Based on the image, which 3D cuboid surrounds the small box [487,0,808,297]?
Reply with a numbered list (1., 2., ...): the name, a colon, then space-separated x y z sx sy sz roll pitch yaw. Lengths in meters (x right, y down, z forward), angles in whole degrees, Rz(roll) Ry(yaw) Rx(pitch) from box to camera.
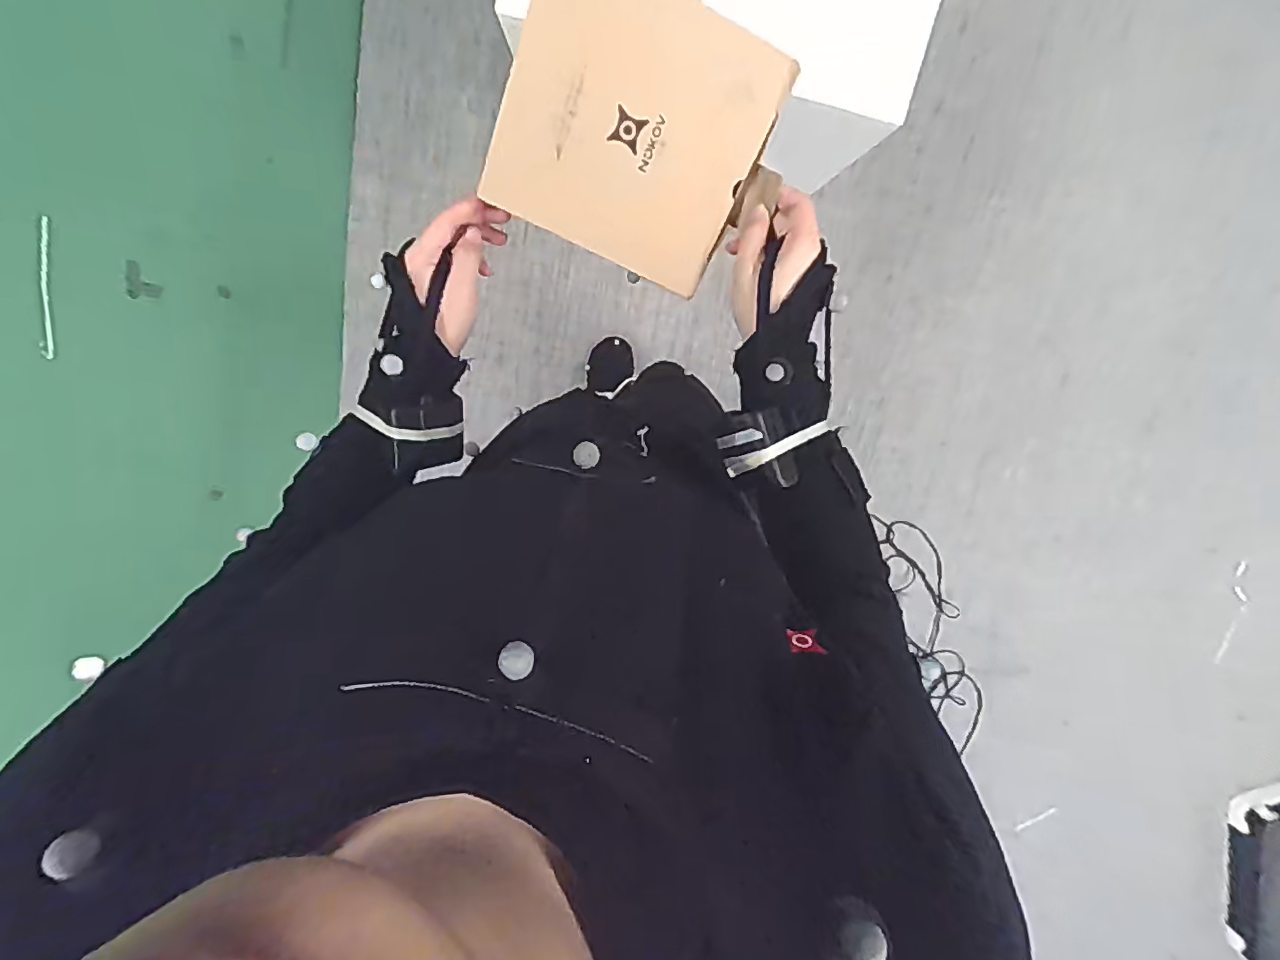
1. small box: -0.001 -0.273 0.441 0.179 0.176 0.168 21 114 -11
